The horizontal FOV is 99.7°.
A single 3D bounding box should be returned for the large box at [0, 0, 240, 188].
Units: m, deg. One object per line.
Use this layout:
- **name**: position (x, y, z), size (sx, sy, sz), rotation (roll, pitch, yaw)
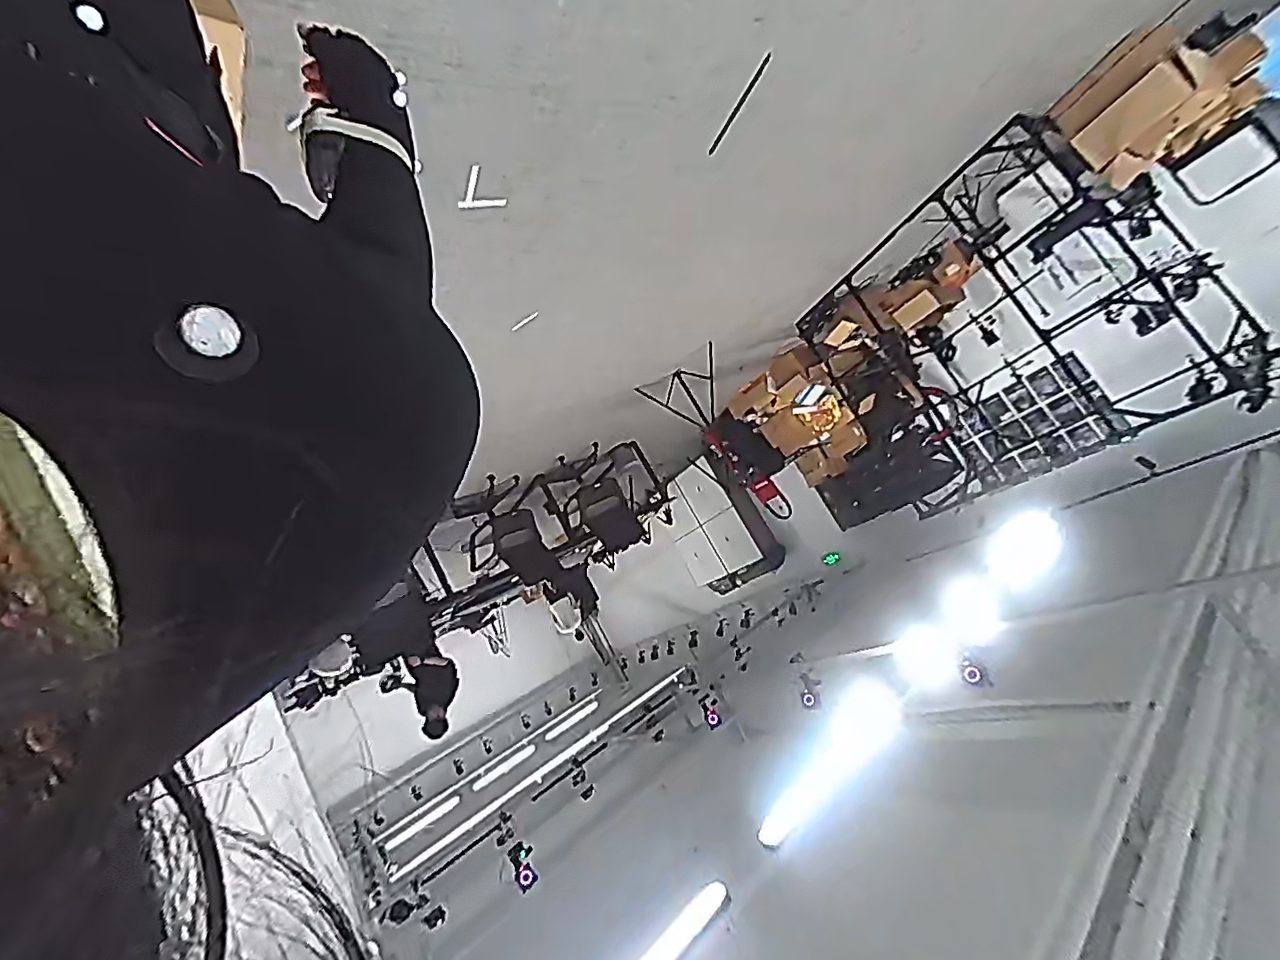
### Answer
- **large box**: position (-0.916, -0.714, 0.842), size (0.408, 0.320, 0.320), rotation (-22, 167, -44)
